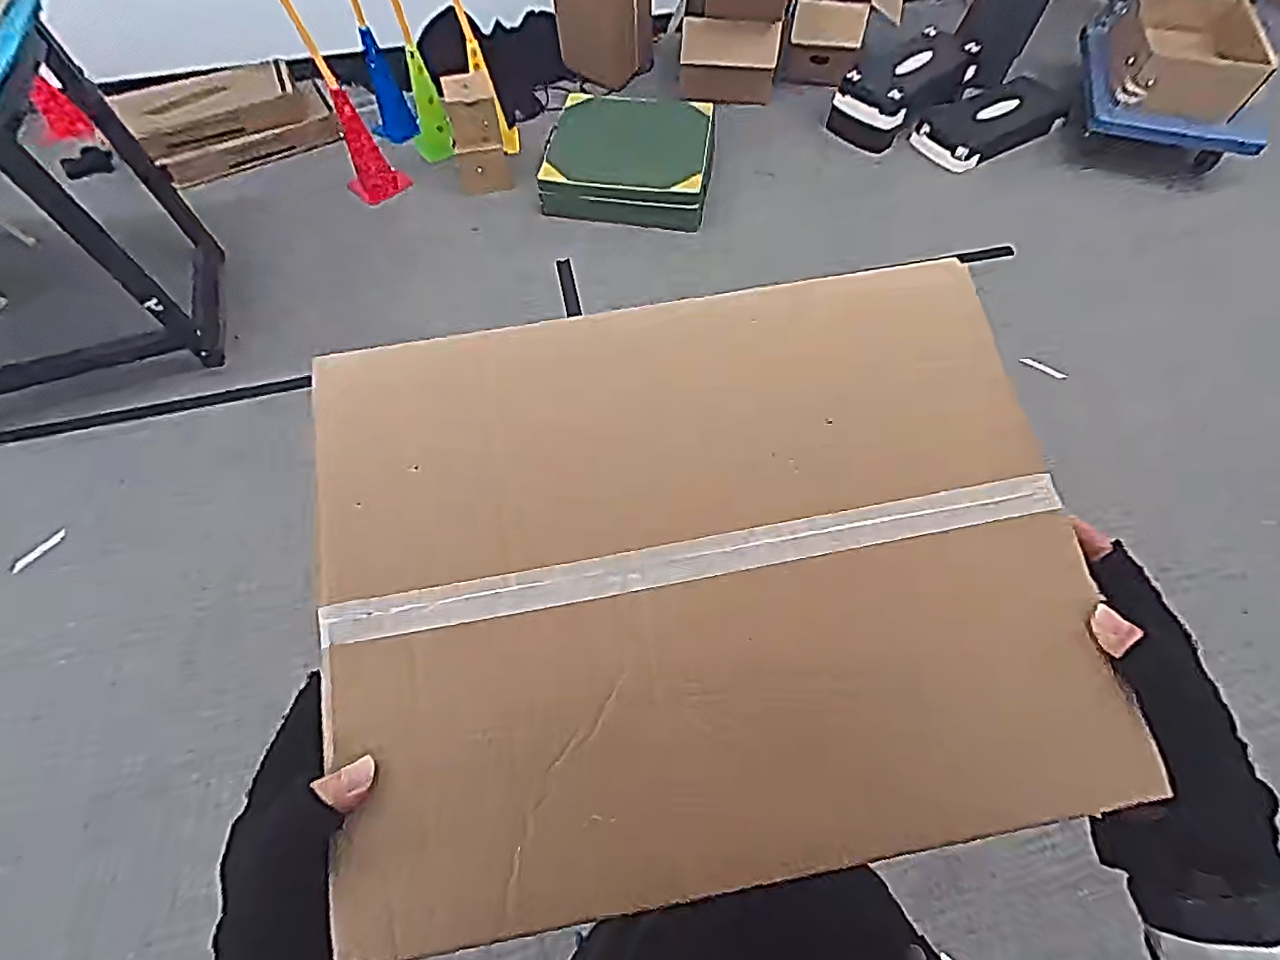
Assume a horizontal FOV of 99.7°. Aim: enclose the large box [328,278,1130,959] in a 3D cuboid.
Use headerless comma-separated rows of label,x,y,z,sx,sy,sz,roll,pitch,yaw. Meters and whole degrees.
large box,0.033,0.086,0.447,0.408,0.320,0.320,-10,75,-3
